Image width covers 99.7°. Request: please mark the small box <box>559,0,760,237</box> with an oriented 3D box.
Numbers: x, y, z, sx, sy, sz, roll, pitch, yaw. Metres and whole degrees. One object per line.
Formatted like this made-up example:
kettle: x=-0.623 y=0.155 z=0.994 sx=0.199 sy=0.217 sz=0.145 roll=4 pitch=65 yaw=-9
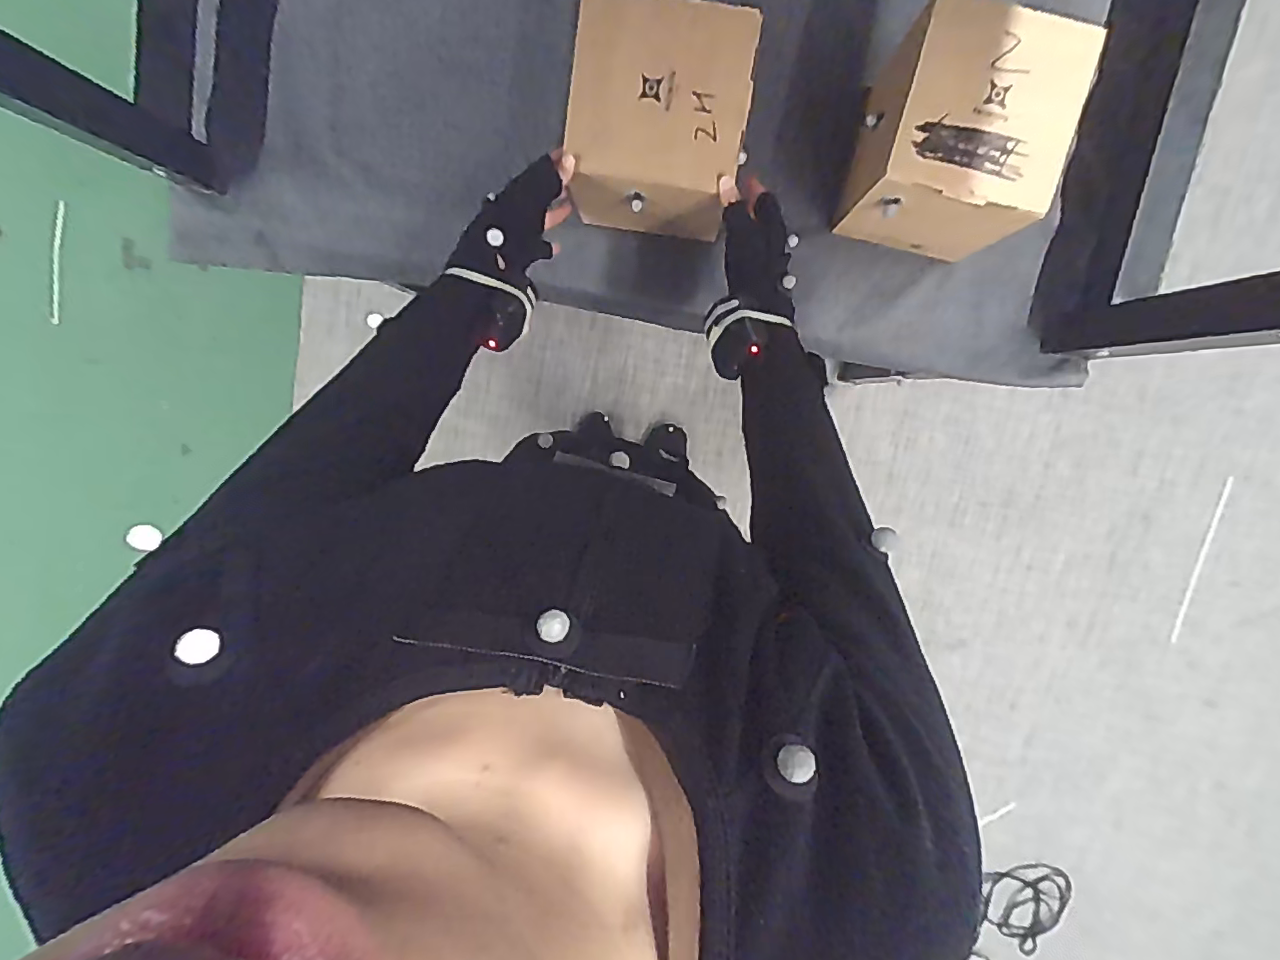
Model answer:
small box: x=0.019 y=-0.389 z=0.606 sx=0.179 sy=0.176 sz=0.168 roll=9 pitch=99 yaw=0
